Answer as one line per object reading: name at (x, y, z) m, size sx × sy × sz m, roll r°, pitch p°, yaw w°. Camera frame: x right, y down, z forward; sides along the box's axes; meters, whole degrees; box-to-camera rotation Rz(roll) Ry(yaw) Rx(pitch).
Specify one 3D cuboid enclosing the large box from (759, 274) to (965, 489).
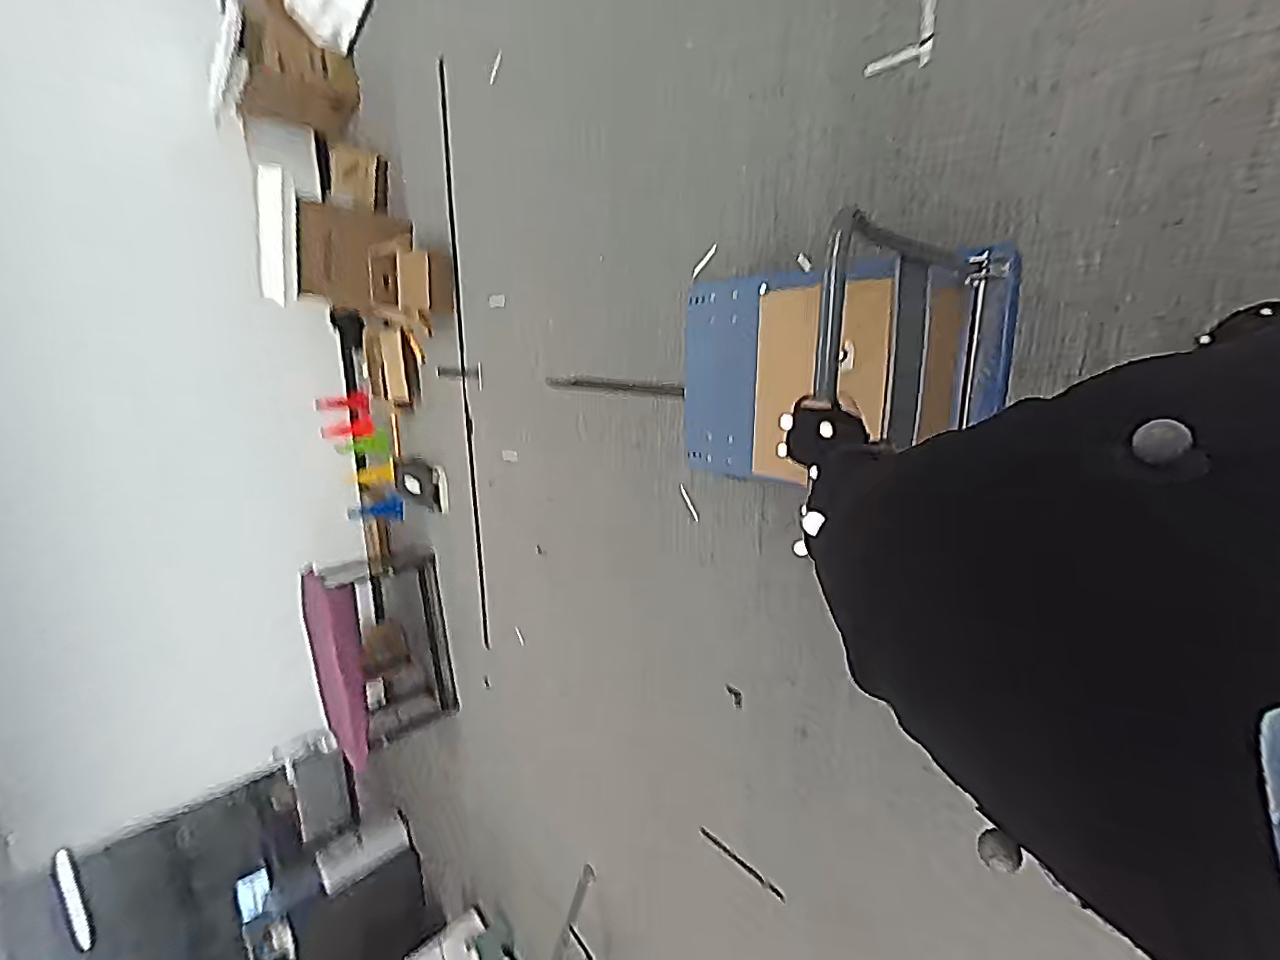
large box at (0.488, -0.215, 1.205) m, size 0.320 × 0.320 × 0.408 m, roll 13°, pitch 107°, yaw 44°
